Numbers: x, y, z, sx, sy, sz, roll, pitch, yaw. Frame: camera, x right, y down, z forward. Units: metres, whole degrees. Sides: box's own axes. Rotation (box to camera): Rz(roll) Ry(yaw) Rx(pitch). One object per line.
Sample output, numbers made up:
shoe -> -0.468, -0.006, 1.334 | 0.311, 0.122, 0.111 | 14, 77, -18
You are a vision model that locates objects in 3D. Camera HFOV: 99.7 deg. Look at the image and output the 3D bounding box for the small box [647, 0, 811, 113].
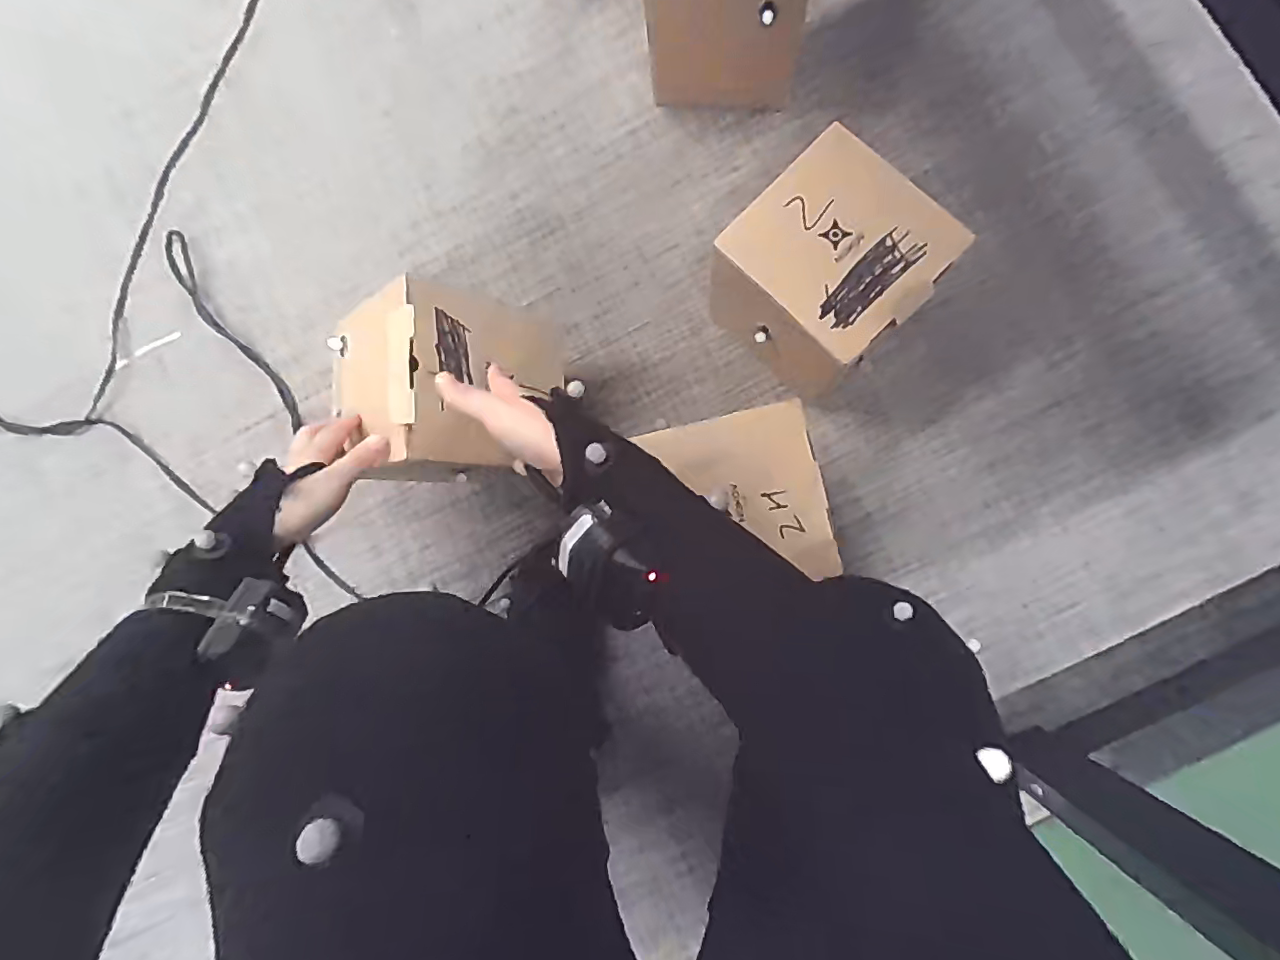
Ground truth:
small box -> 0.104, -0.561, 0.623 | 0.179, 0.176, 0.168 | 6, 85, 6
